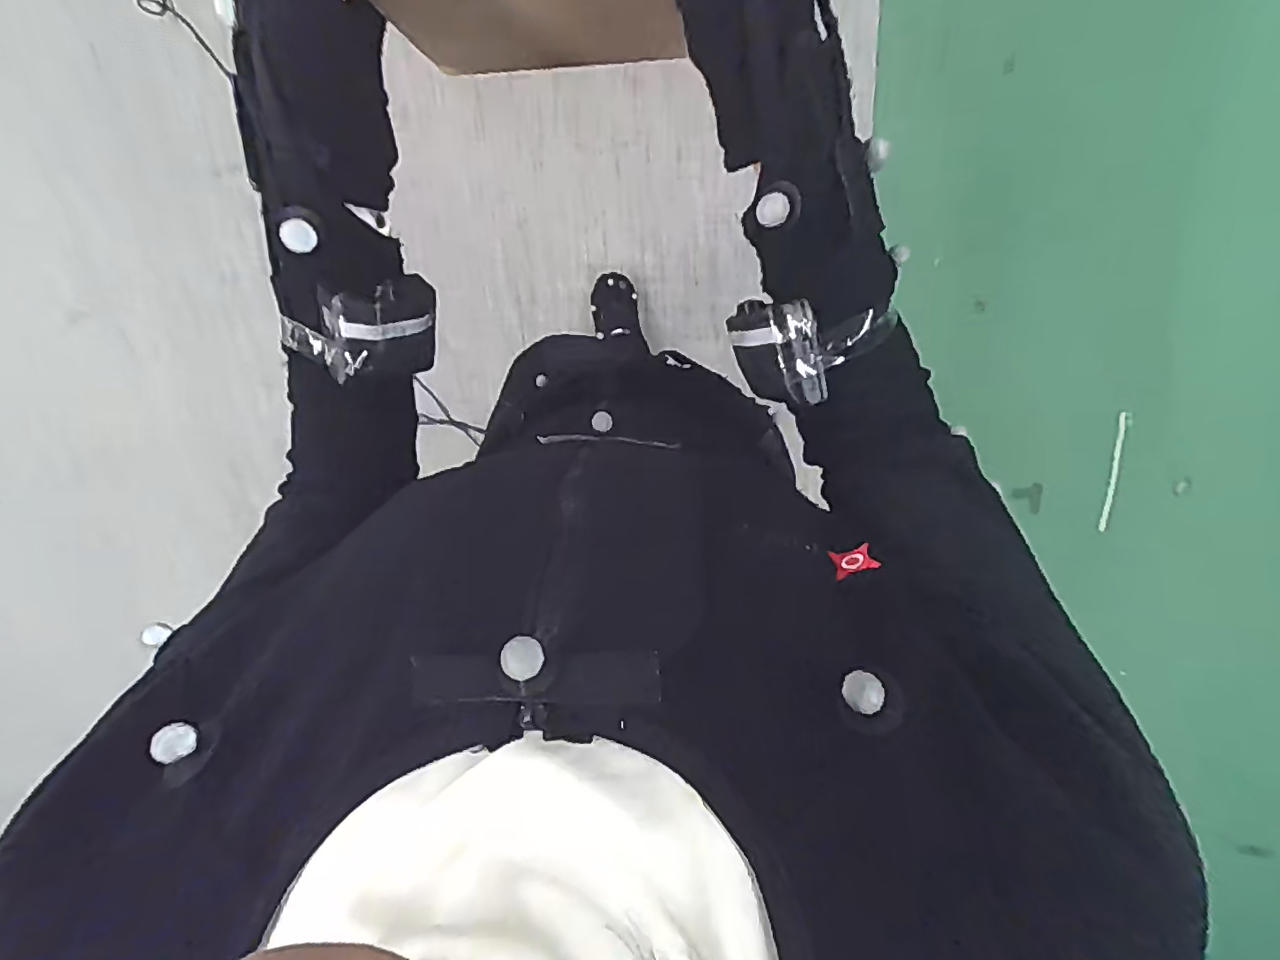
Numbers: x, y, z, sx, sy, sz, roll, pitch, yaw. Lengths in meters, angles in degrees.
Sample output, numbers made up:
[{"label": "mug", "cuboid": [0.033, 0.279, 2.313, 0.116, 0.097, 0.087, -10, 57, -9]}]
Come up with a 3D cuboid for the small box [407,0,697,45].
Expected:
[{"label": "small box", "cuboid": [-0.058, -0.342, 0.258, 0.179, 0.176, 0.168, -1, 108, 4]}]
